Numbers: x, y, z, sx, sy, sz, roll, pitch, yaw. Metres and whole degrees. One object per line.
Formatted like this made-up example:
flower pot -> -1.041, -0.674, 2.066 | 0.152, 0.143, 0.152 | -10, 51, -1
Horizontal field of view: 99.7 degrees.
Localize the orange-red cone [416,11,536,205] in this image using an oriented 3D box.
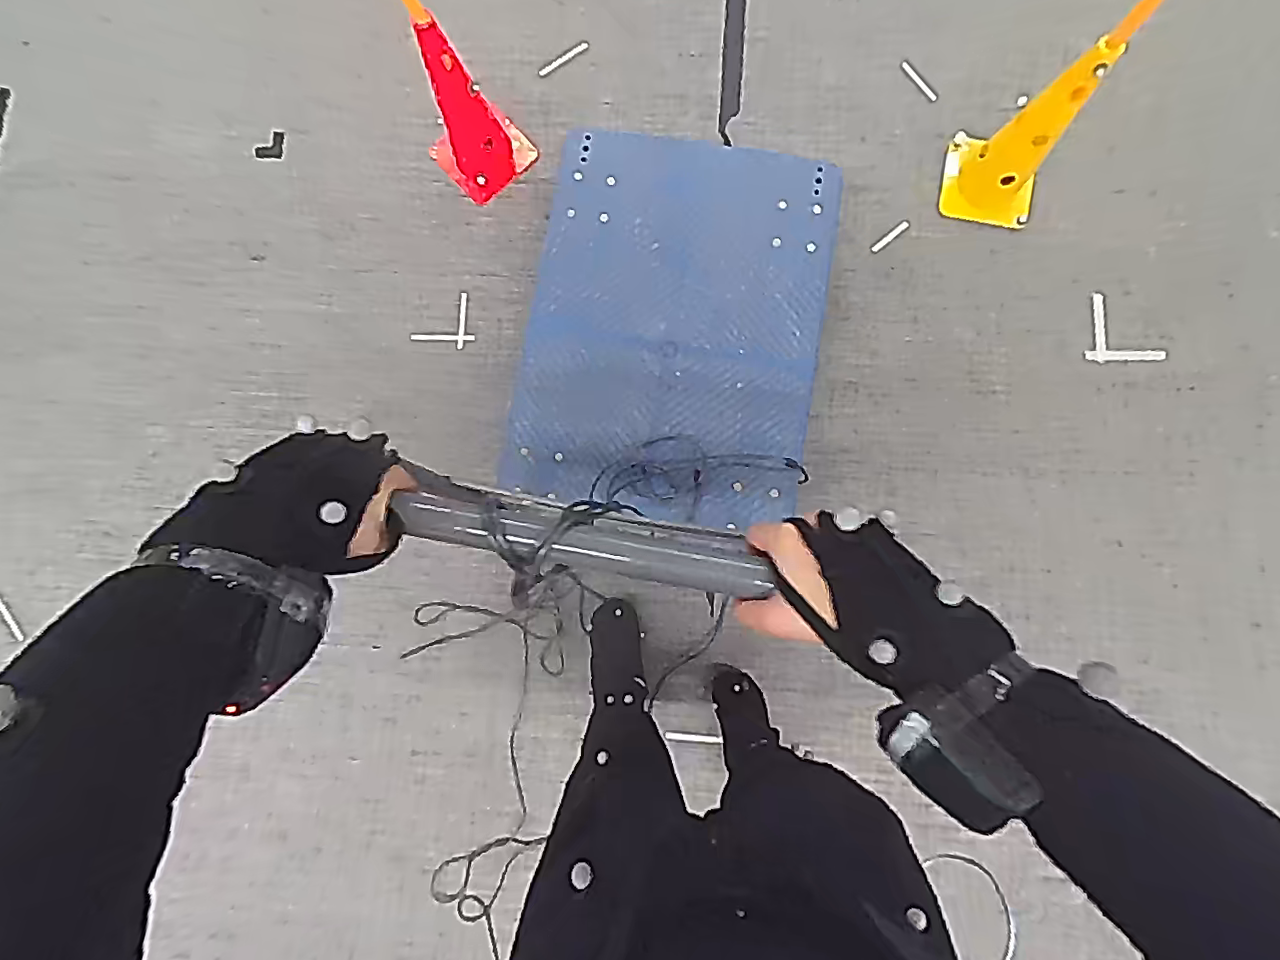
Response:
orange-red cone -> -0.379, -0.799, 1.134 | 0.199, 0.360, 0.198 | -41, 85, -4
